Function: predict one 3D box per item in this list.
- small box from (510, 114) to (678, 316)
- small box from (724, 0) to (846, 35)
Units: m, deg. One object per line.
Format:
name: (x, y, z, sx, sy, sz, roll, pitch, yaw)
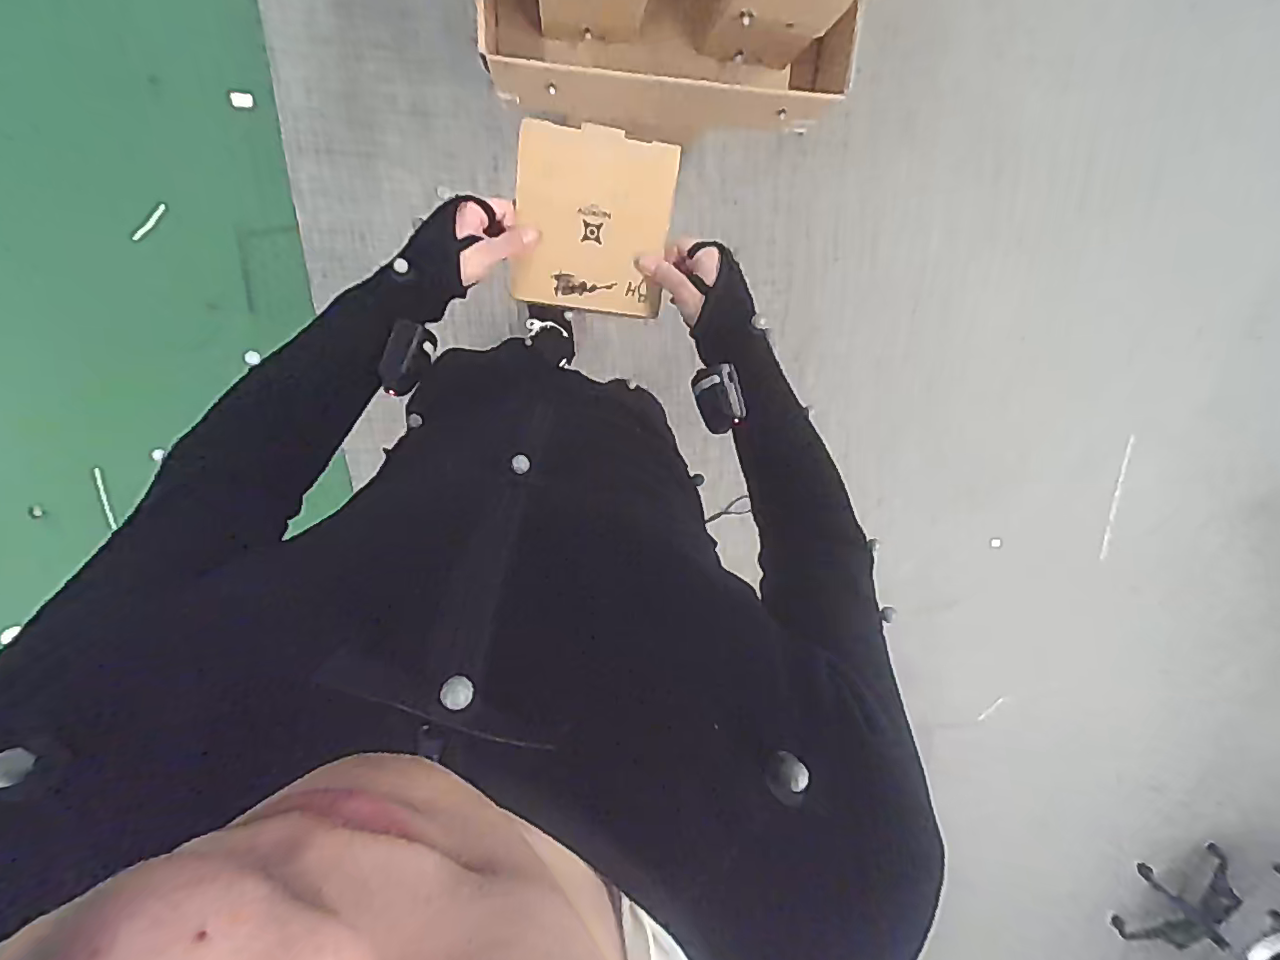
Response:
small box: (-0.060, -0.298, 0.648, 0.168, 0.176, 0.179, 5, 107, -8)
small box: (0.221, -0.760, 0.745, 0.168, 0.176, 0.179, 4, 107, -8)
